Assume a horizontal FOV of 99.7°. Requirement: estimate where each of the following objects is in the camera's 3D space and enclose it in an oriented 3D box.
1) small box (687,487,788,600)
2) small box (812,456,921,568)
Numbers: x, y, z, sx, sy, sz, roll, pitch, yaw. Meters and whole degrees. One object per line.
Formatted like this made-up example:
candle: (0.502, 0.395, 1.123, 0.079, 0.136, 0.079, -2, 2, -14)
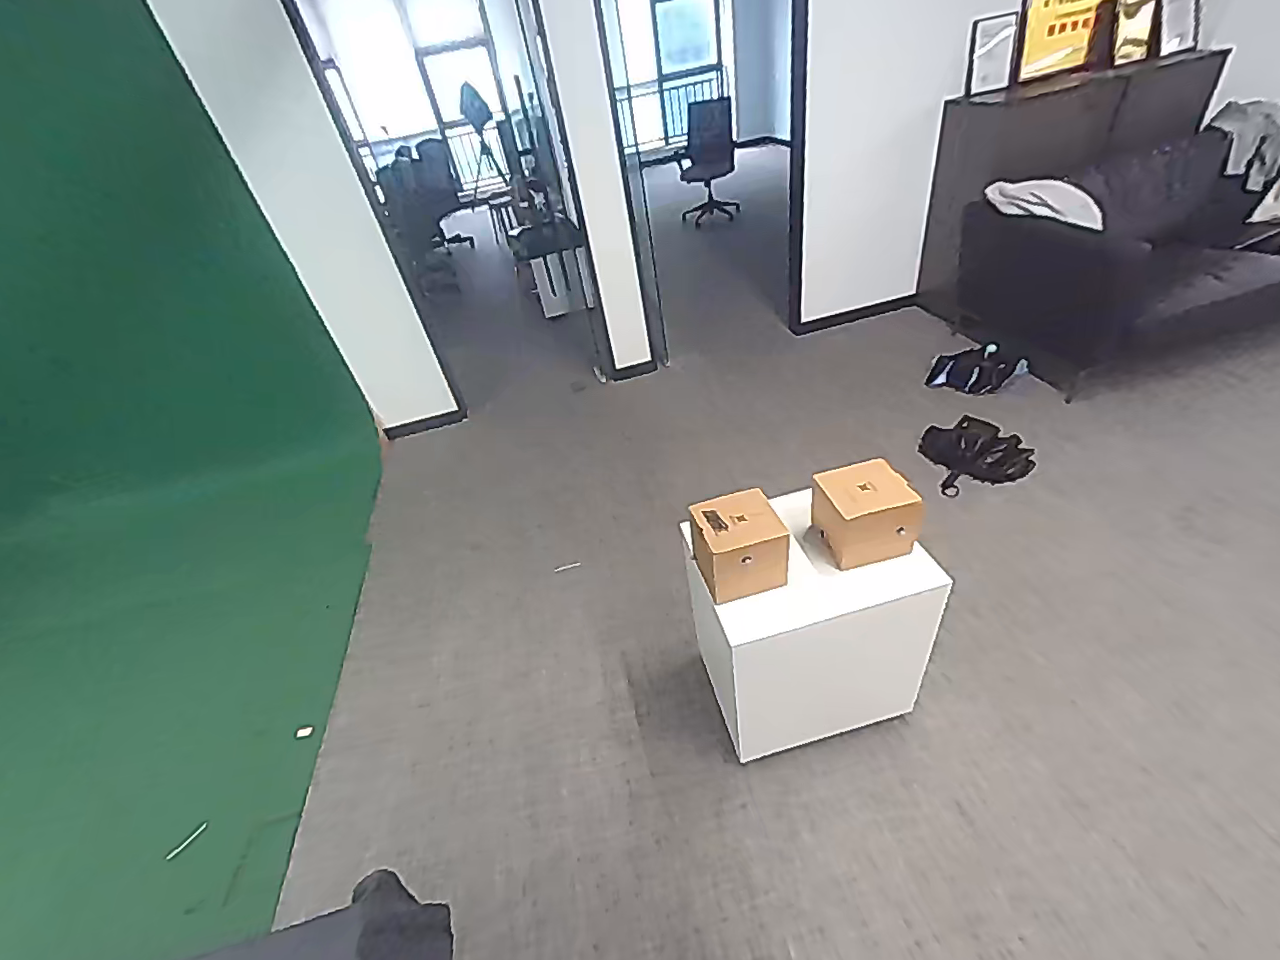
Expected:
small box: (0.220, 0.146, 1.226, 0.179, 0.176, 0.168, -14, 39, -7)
small box: (0.509, 0.075, 1.244, 0.179, 0.176, 0.168, -15, 38, -2)
